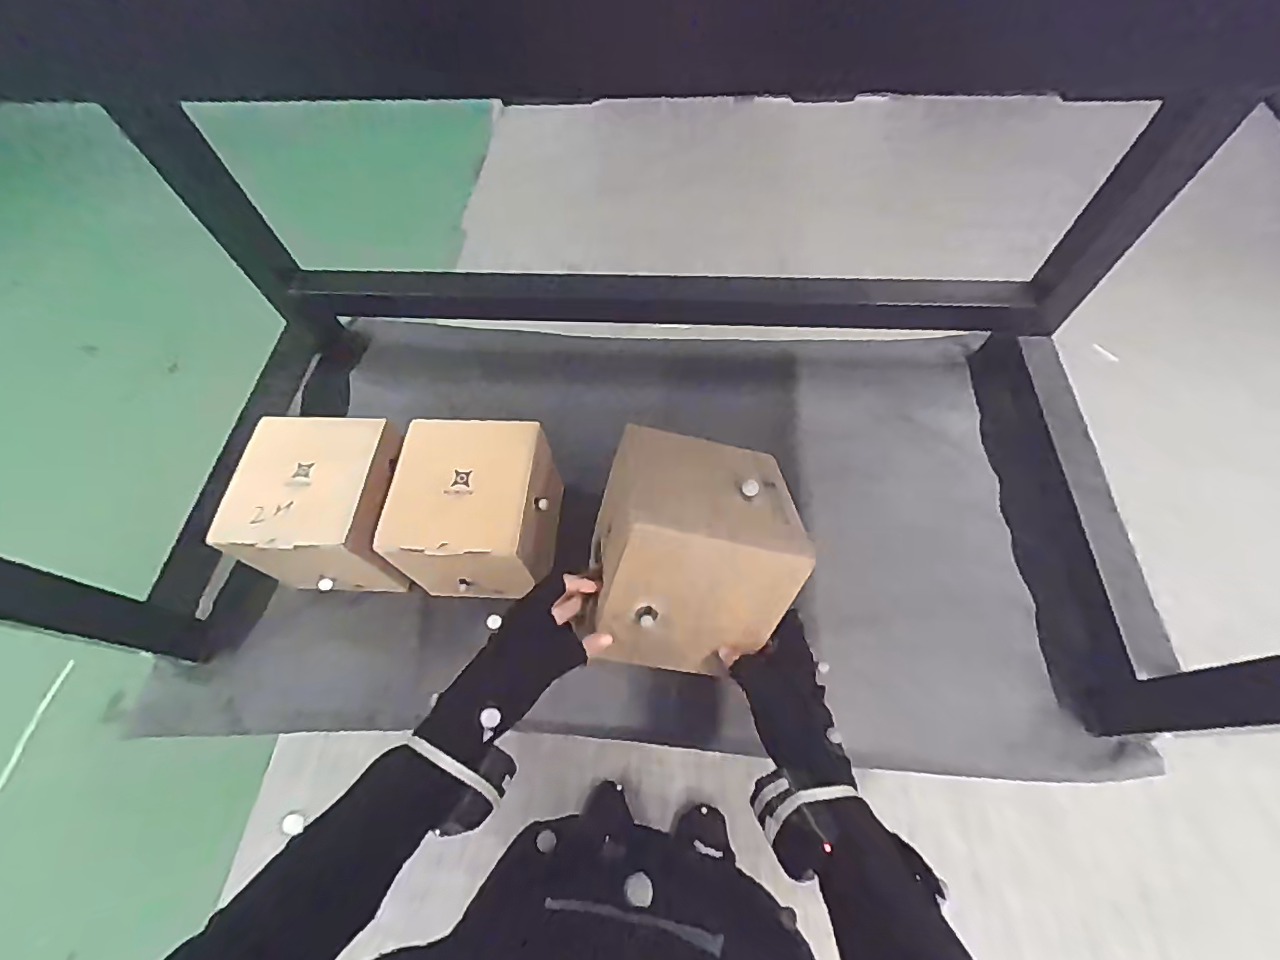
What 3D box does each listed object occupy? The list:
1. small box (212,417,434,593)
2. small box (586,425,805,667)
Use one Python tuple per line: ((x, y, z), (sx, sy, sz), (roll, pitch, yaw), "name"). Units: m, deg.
((-0.393, 0.036, 0.712), (0.168, 0.176, 0.179), (1, 61, 5), "small box")
((0.046, 0.071, 0.555), (0.176, 0.179, 0.168), (10, 36, -9), "small box")
